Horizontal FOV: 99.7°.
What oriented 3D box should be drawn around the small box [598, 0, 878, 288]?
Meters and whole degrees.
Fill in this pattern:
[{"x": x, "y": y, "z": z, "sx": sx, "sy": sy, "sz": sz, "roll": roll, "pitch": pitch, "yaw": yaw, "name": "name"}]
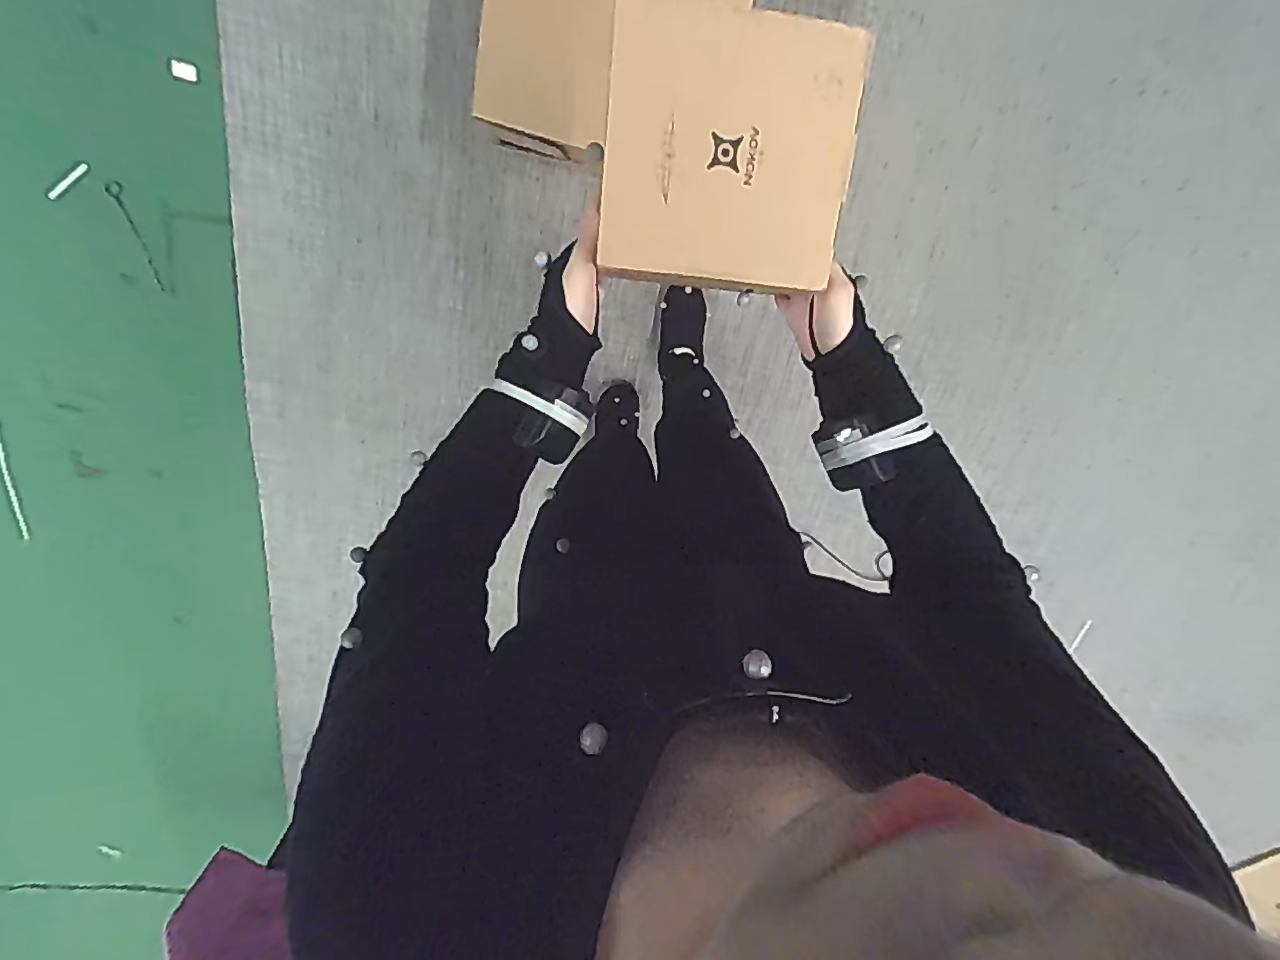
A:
[{"x": 0.059, "y": -0.256, "z": 0.451, "sx": 0.179, "sy": 0.176, "sz": 0.168, "roll": 4, "pitch": 107, "yaw": -6, "name": "small box"}]
